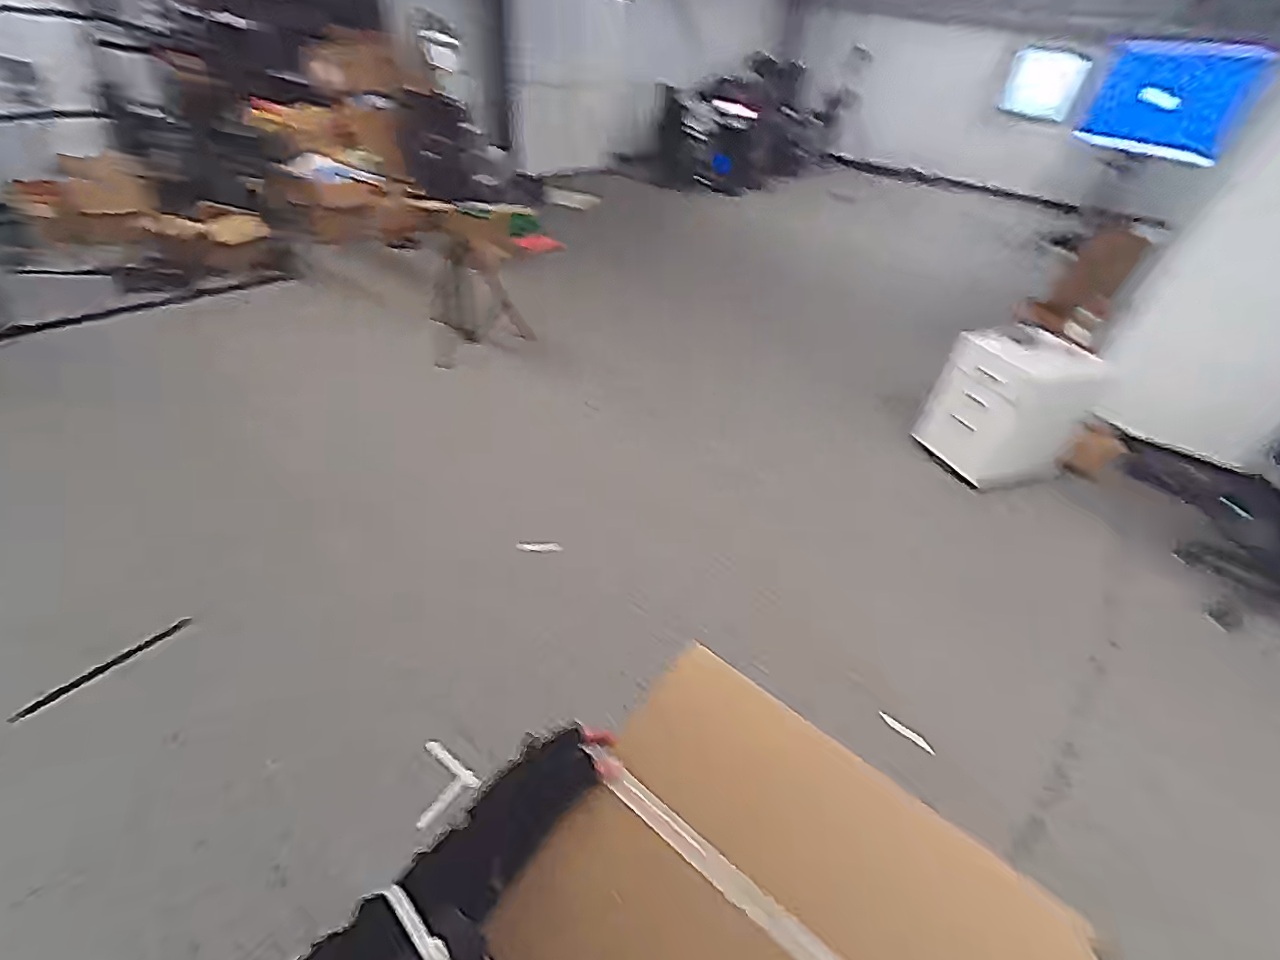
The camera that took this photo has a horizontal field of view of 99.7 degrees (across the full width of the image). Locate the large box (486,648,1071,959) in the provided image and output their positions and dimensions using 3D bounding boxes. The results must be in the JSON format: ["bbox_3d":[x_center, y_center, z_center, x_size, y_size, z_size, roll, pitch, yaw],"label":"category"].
[{"bbox_3d":[0.112,0.462,0.561,0.408,0.320,0.320,31,55,22],"label":"large box"}]
